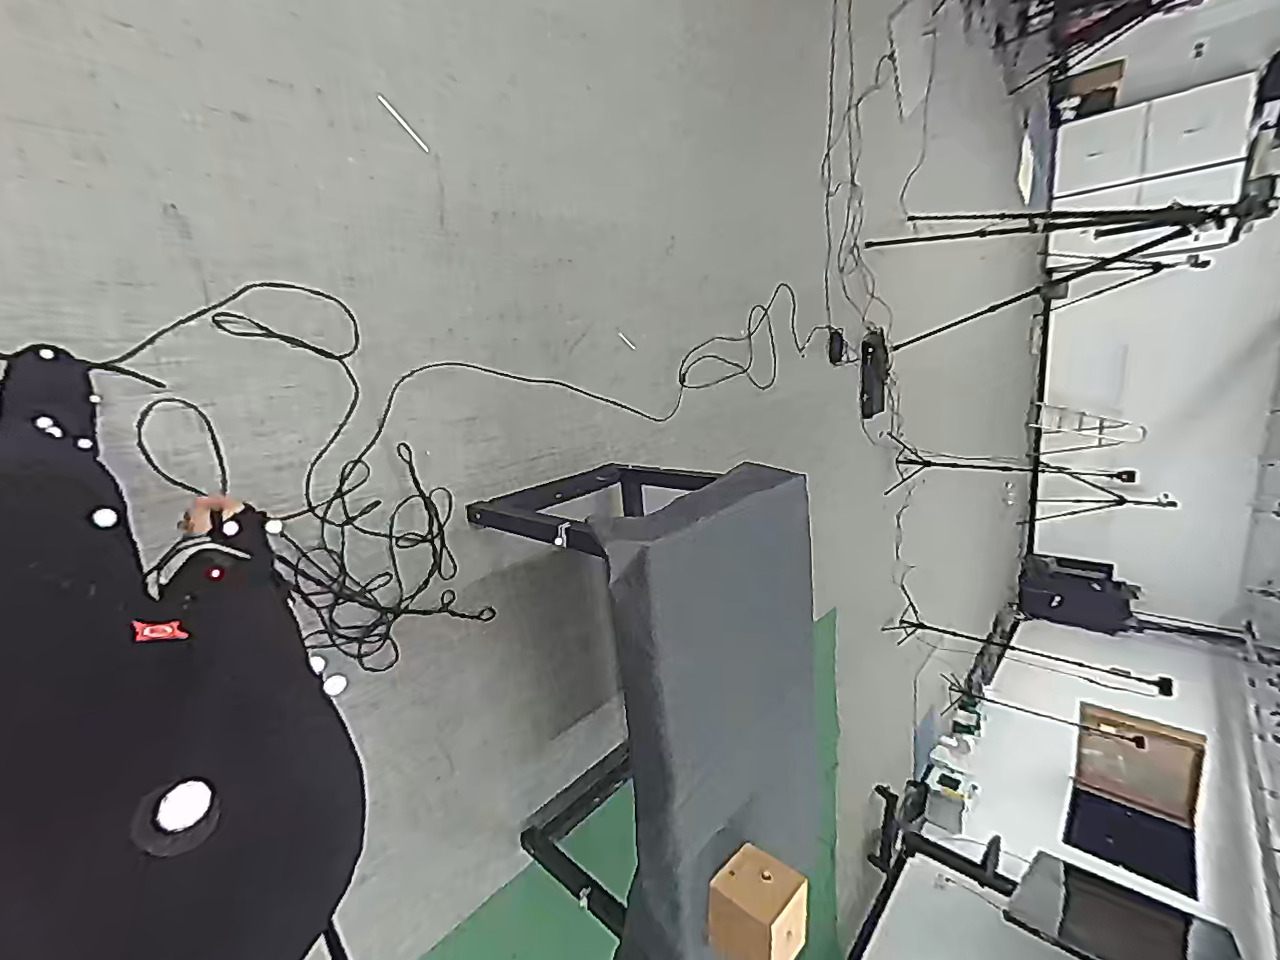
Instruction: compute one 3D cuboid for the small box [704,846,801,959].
[{"bbox_3d":[0.264,1.011,1.274,0.168,0.176,0.179,-9,102,-47],"label":"small box"}]
